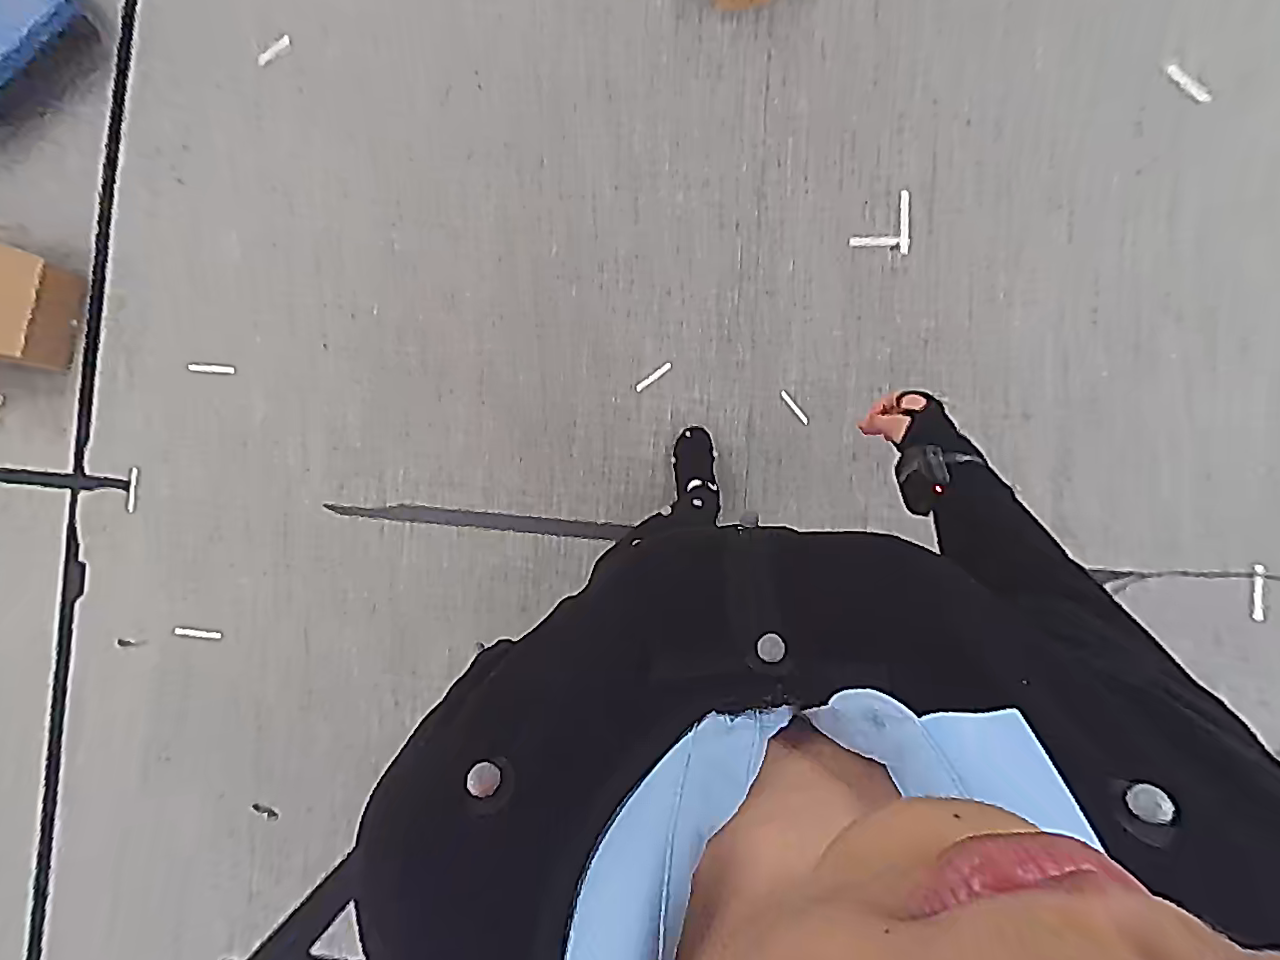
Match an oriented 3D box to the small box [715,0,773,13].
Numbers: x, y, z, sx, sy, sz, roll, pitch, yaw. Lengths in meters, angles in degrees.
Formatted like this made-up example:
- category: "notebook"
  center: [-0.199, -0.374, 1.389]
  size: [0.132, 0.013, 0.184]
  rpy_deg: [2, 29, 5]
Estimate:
- category: "small box"
  center: [0.287, -1.431, 1.468]
  size: [0.168, 0.176, 0.179]
  rpy_deg: [-2, 87, 6]
